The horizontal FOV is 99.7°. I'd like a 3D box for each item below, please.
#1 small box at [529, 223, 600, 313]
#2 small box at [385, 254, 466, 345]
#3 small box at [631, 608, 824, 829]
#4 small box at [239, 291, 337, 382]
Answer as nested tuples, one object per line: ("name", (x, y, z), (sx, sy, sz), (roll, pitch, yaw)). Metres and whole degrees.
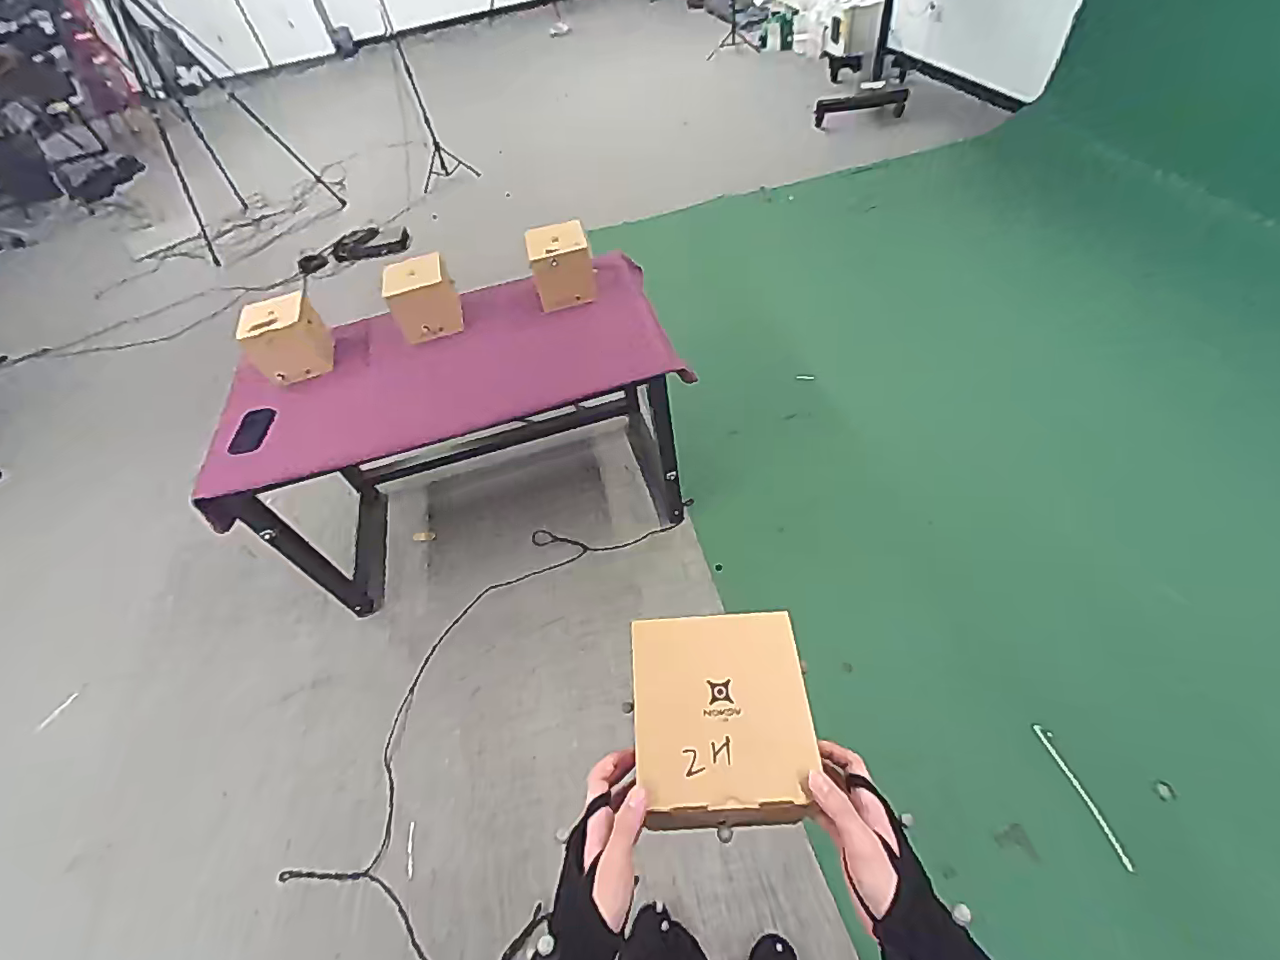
("small box", (-0.221, -0.621, 1.590), (0.168, 0.176, 0.179), (-14, 50, -1))
("small box", (-0.620, -0.524, 1.578), (0.168, 0.176, 0.179), (-17, 51, -4))
("small box", (0.077, 0.254, 0.572), (0.168, 0.176, 0.179), (-4, 51, 2))
("small box", (-0.985, -0.398, 1.531), (0.168, 0.176, 0.179), (-19, 50, -7))
